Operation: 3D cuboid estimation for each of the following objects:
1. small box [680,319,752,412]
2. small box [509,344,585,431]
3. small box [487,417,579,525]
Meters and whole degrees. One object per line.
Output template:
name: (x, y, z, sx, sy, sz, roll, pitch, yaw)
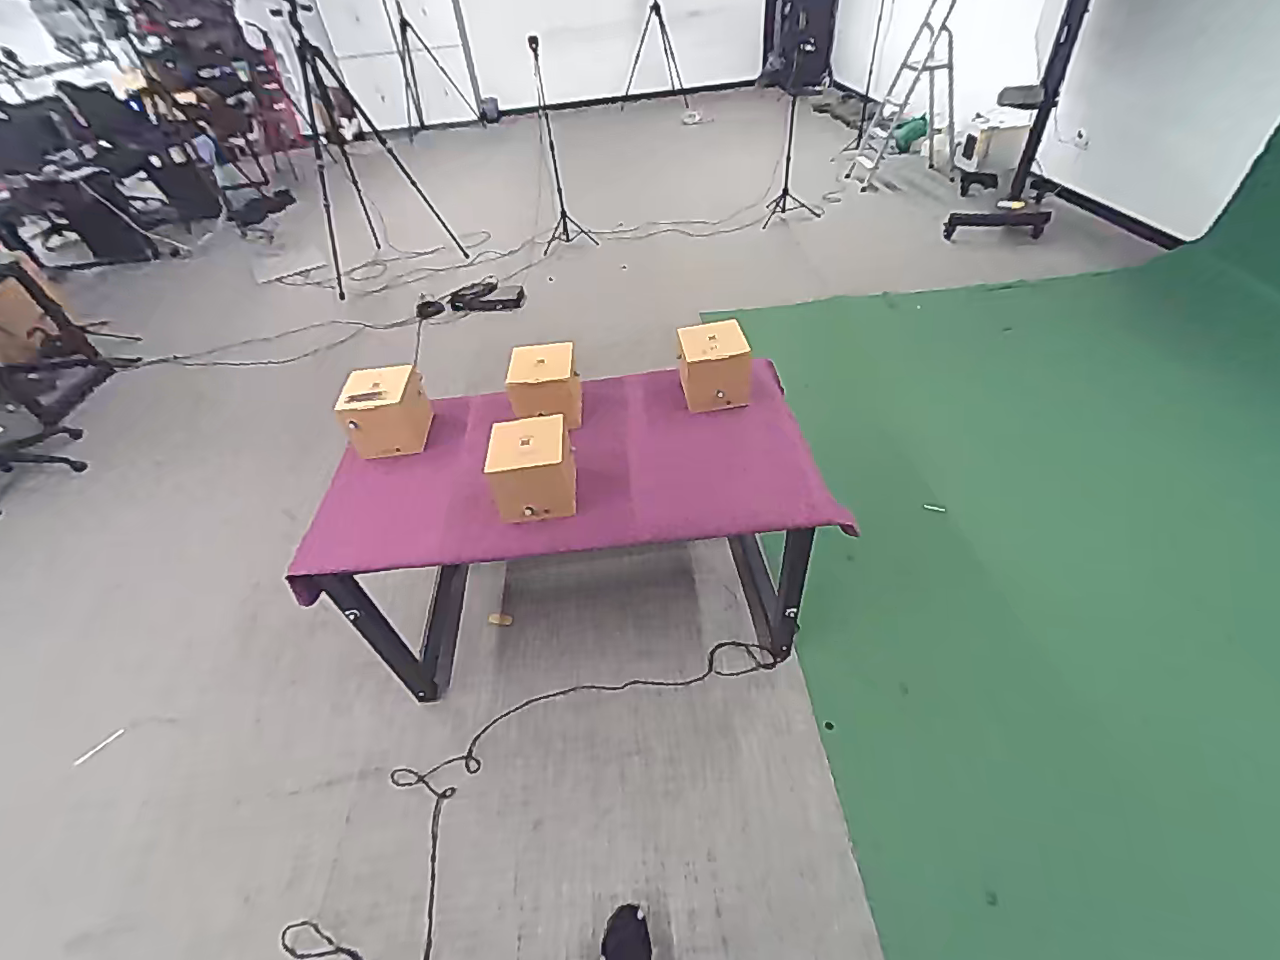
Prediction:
small box: (0.205, -0.310, 1.470, 0.168, 0.176, 0.179, -10, 45, 3)
small box: (-0.247, -0.249, 1.481, 0.168, 0.176, 0.179, -6, 46, 2)
small box: (-0.239, -0.021, 1.247, 0.168, 0.176, 0.179, -8, 43, 2)
